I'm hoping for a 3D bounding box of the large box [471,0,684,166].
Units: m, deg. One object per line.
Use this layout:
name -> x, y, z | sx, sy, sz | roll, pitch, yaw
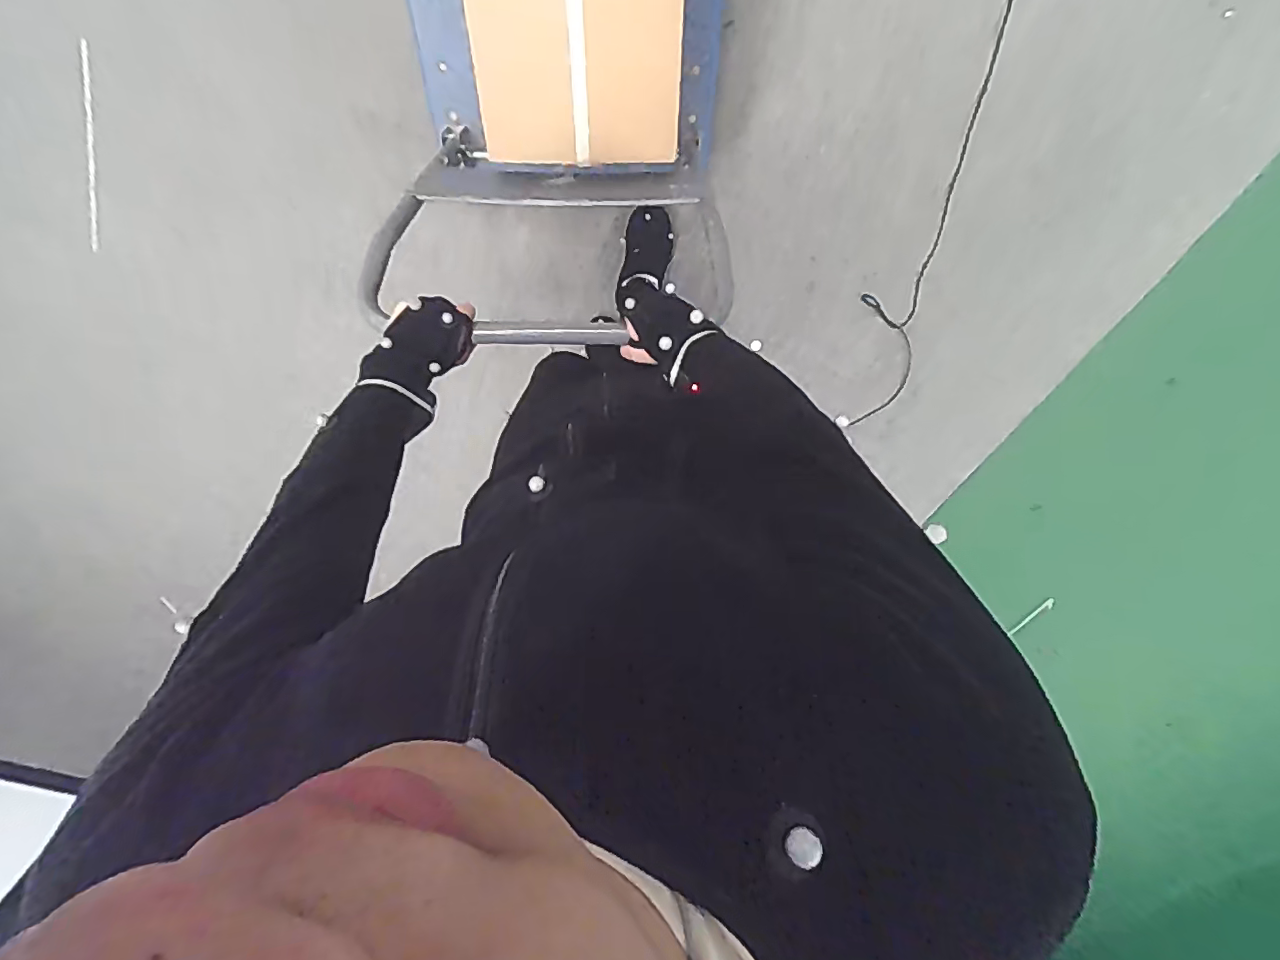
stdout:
large box -> -0.090, -0.781, 0.895 | 0.320, 0.320, 0.408 | 0, 132, -1
